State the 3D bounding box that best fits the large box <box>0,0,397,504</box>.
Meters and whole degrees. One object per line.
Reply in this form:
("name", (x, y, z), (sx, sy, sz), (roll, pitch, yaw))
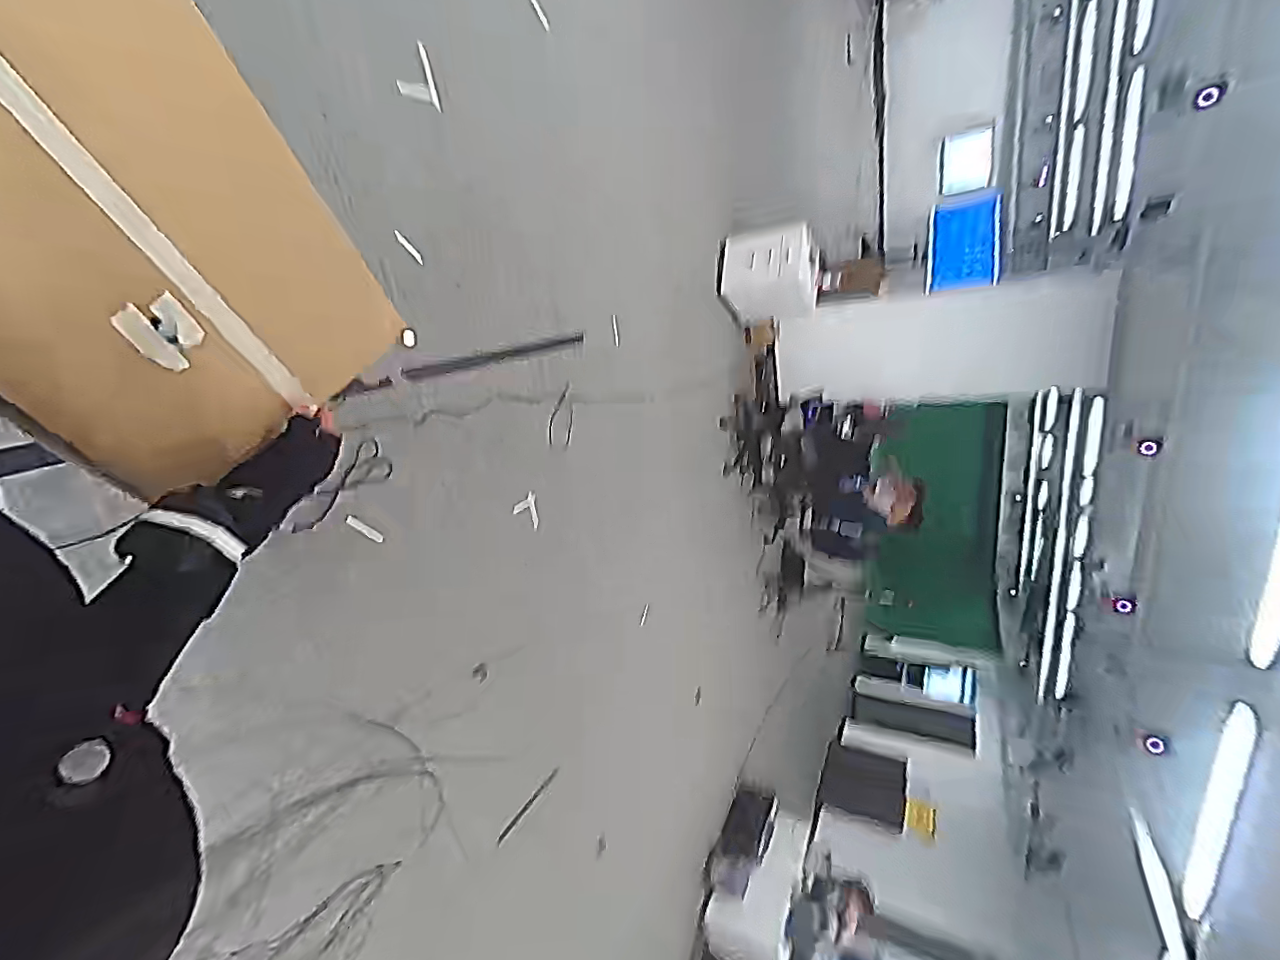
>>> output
("large box", (-0.547, -0.242, 0.524), (0.320, 0.320, 0.408), (-56, 145, -30))
